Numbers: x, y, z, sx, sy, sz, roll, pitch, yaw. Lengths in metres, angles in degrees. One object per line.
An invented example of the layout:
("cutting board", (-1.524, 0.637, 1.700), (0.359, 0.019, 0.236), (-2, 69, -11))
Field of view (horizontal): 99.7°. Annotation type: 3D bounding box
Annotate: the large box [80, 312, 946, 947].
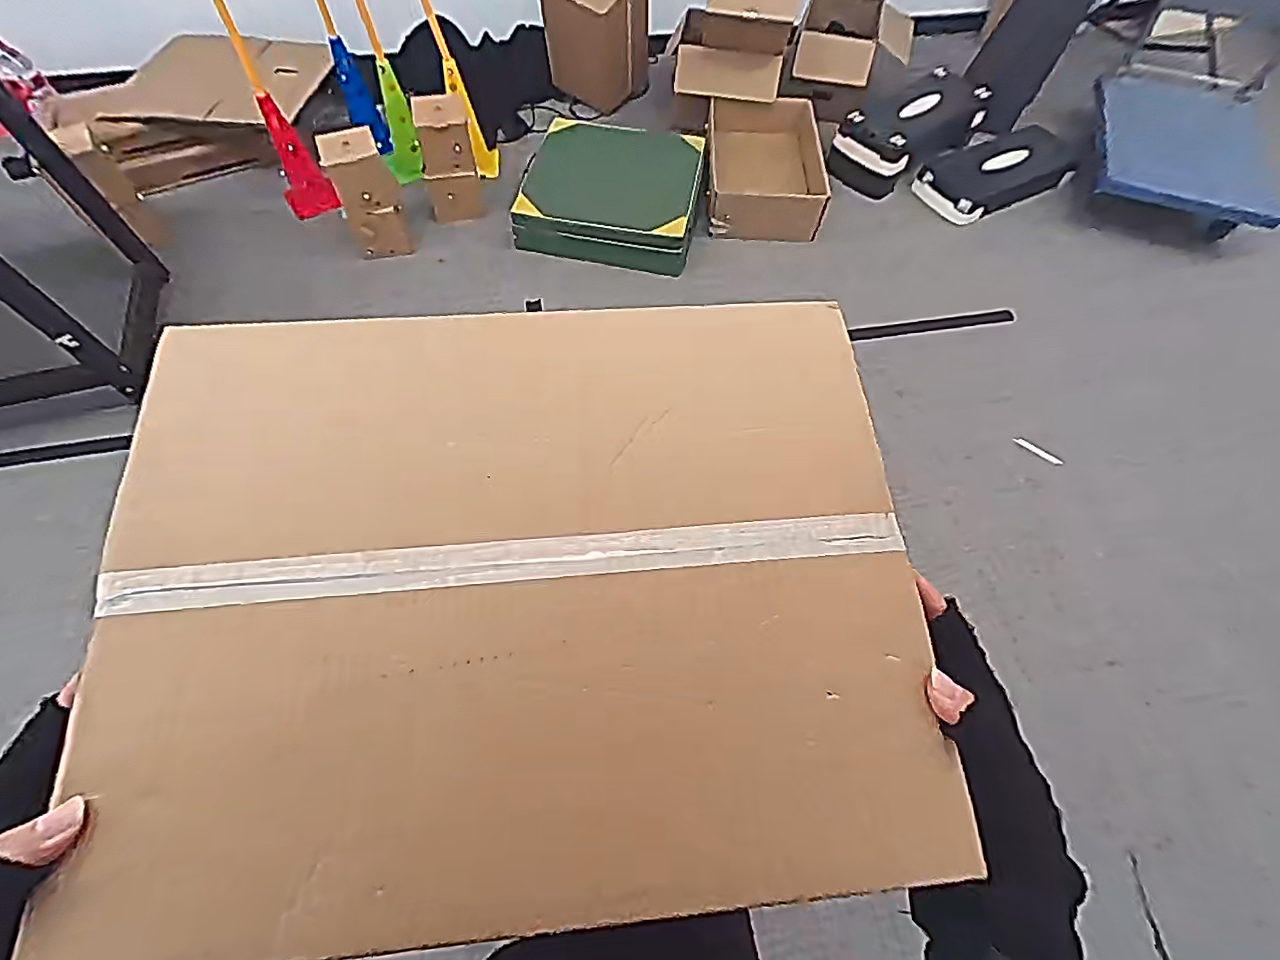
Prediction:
("large box", (-0.068, 0.096, 0.438), (0.408, 0.320, 0.320), (-4, 70, -5))
